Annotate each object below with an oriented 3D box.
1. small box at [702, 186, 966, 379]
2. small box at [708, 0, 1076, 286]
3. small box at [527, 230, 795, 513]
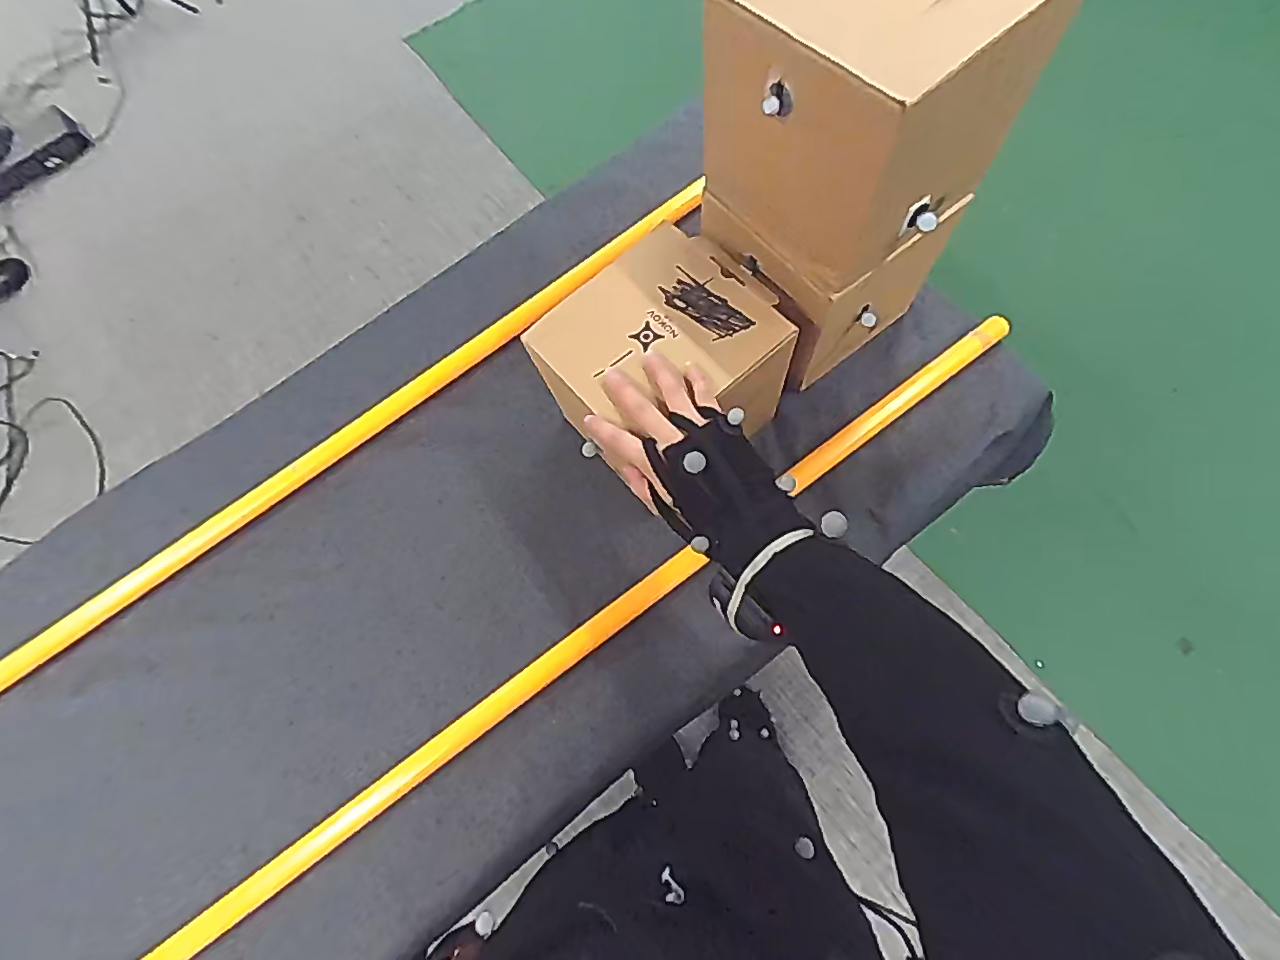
[{"bbox_3d":[0.183,-0.230,0.567,0.168,0.176,0.179,-37,70,-7],"label":"small box"},{"bbox_3d":[0.167,-0.290,0.417,0.168,0.176,0.179,-39,71,-6],"label":"small box"},{"bbox_3d":[0.022,-0.096,0.537,0.179,0.176,0.168,-40,71,-8],"label":"small box"}]
